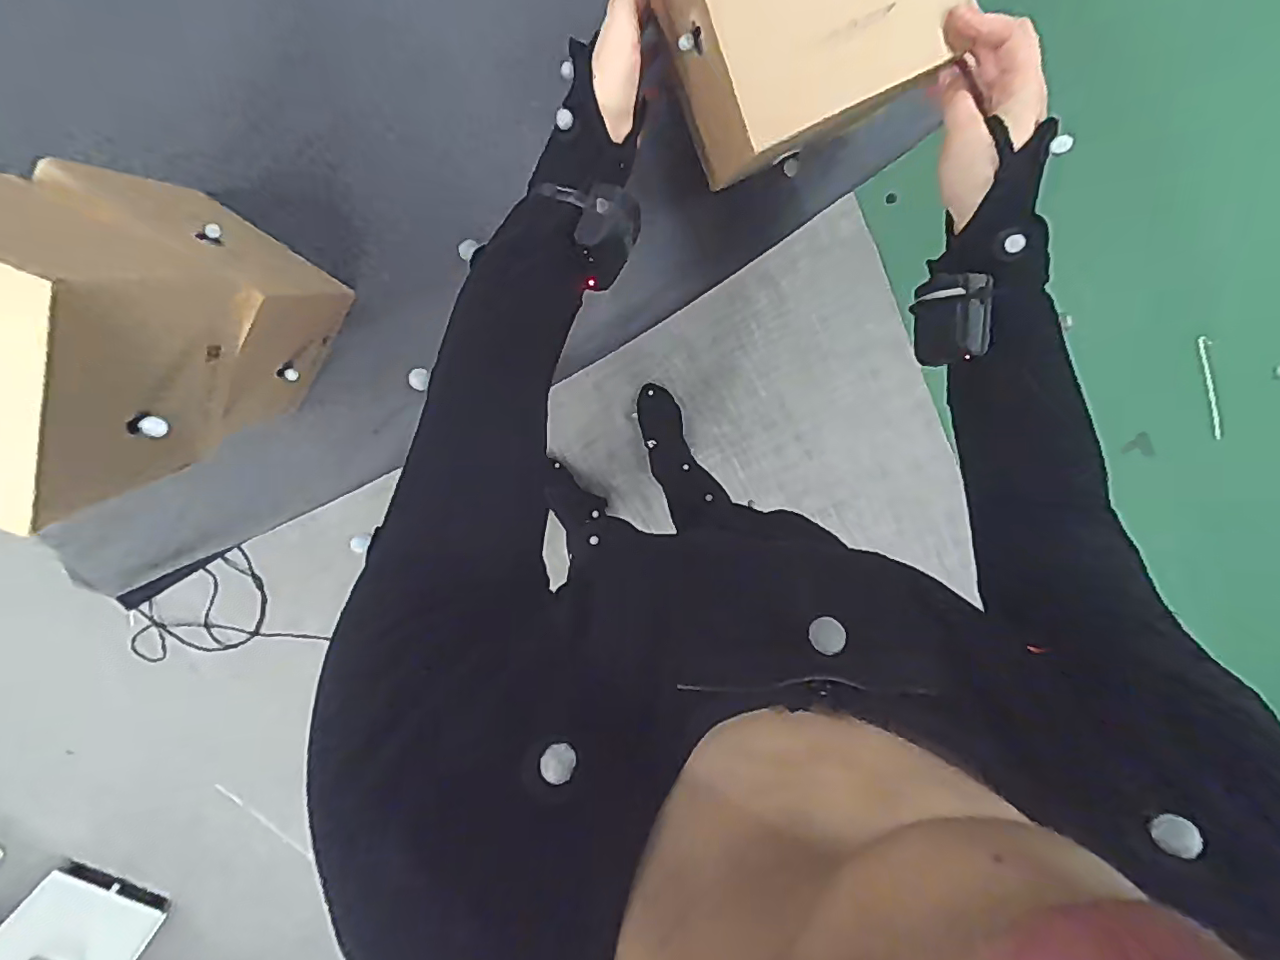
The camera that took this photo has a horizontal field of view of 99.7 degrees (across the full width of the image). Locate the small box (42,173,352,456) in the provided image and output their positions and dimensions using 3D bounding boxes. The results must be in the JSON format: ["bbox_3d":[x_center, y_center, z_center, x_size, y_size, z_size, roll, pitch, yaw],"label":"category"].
[{"bbox_3d":[-0.420,-0.155,0.522,0.179,0.176,0.168,33,105,-12],"label":"small box"}]

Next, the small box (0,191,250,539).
[{"bbox_3d":[-0.417,-0.091,0.372,0.179,0.176,0.168,23,108,-9],"label":"small box"}]

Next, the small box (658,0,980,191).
[{"bbox_3d":[0.122,-0.361,0.428,0.168,0.176,0.179,-24,110,6],"label":"small box"}]
